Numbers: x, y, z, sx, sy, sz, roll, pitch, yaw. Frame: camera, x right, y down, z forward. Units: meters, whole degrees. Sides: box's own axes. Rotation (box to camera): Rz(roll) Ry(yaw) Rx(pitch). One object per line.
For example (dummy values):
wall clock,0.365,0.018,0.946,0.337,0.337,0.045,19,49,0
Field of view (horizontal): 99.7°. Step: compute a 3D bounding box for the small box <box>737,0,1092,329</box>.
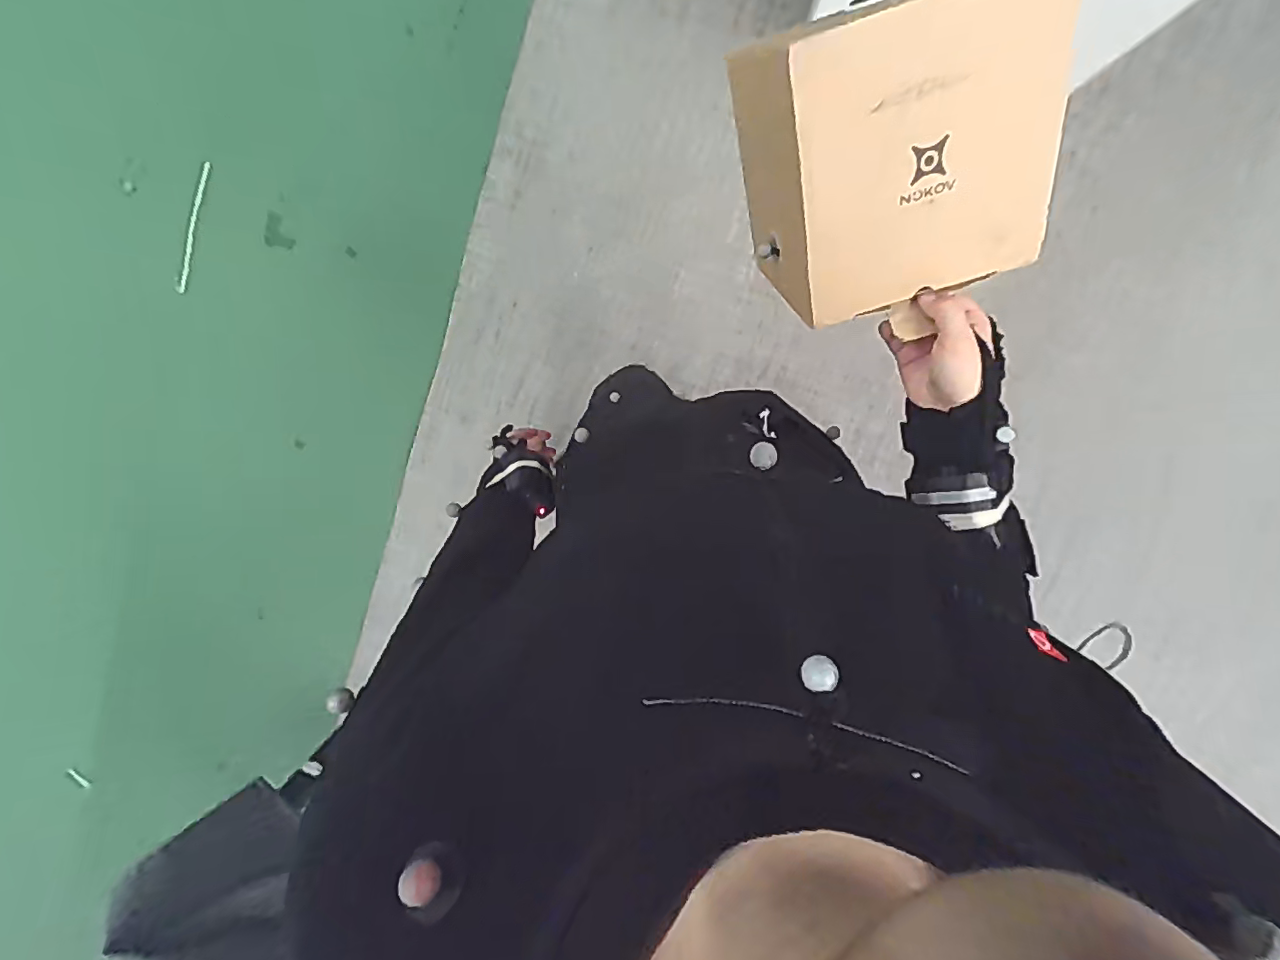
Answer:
small box,0.181,-0.245,0.409,0.168,0.176,0.179,-16,126,6
